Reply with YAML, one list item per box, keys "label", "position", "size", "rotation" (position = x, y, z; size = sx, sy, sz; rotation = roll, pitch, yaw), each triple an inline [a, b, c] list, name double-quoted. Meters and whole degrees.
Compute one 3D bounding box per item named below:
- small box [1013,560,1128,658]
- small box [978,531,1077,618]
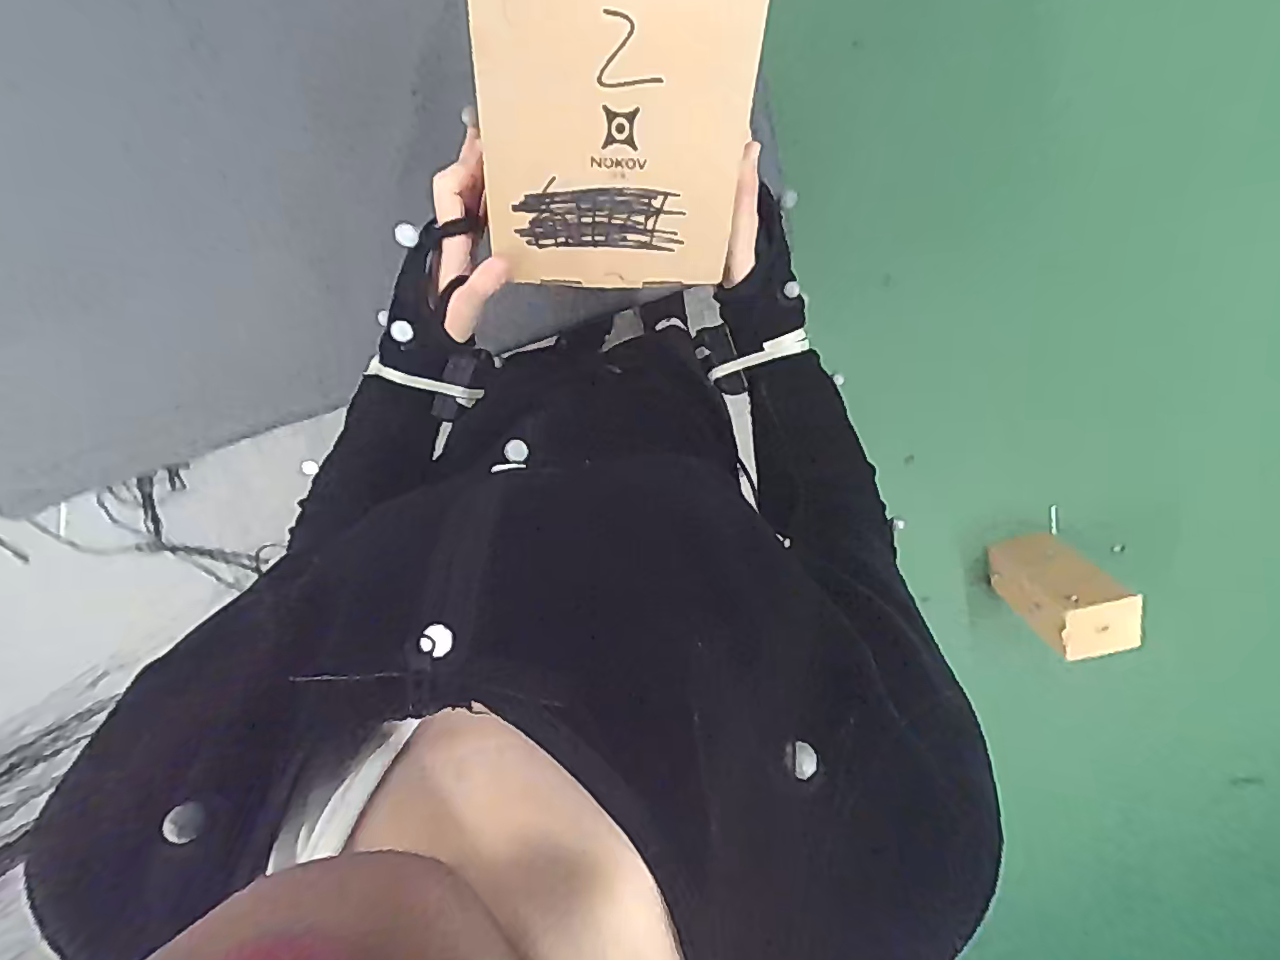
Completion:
- label: "small box"
  position: [1.128, 0.334, 1.427]
  size: [0.179, 0.176, 0.168]
  rotation: [-17, 112, 7]
- label: "small box"
  position: [1.125, 0.270, 1.576]
  size: [0.179, 0.176, 0.168]
  rotation: [-16, 111, 7]
